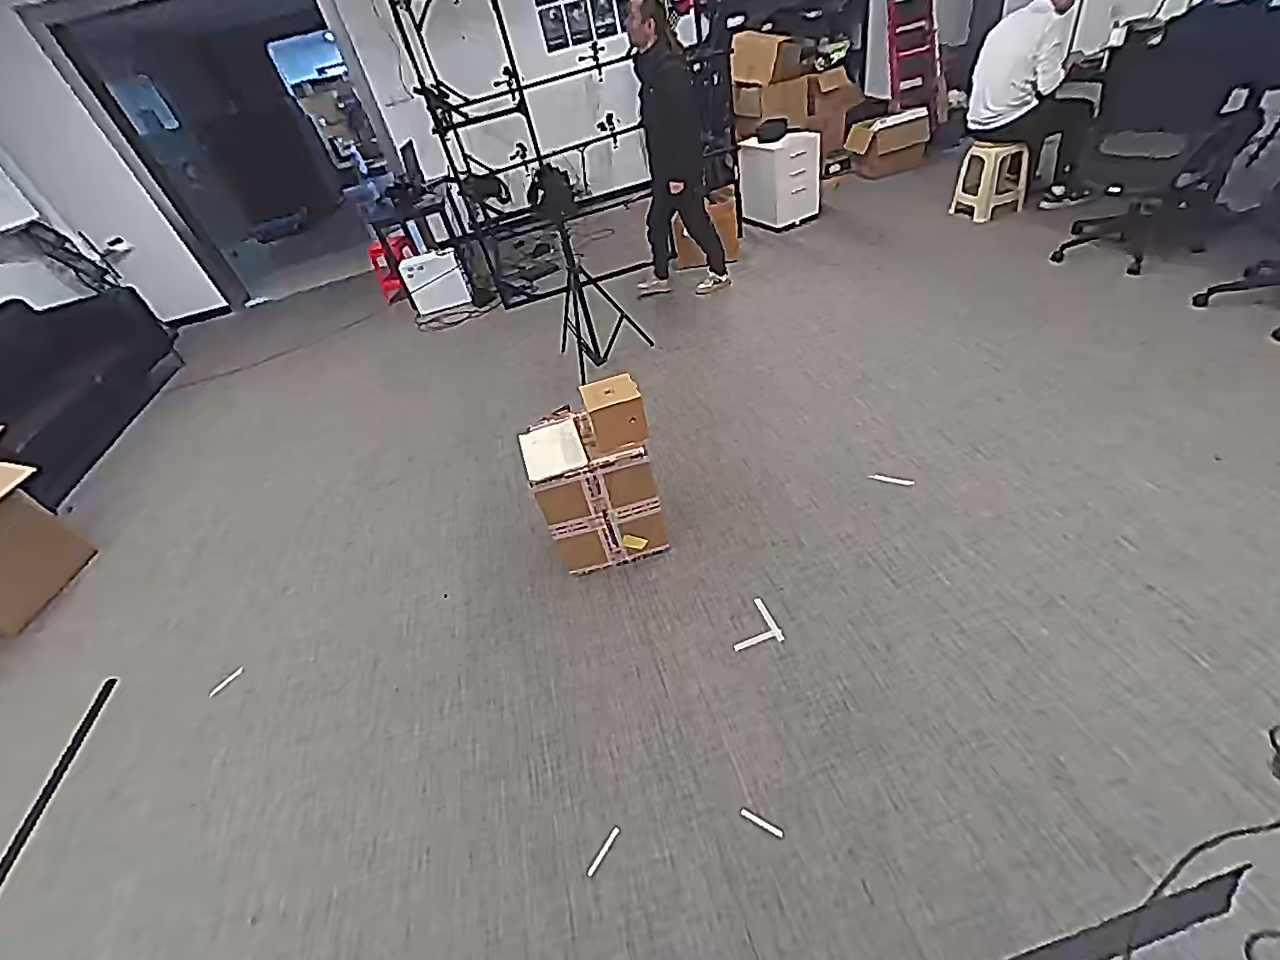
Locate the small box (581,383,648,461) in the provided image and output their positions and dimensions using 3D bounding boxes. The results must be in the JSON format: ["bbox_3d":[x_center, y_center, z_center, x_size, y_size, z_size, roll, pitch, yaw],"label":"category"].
[{"bbox_3d":[-0.078,-0.190,1.783,0.179,0.176,0.168,-19,41,-6],"label":"small box"}]
